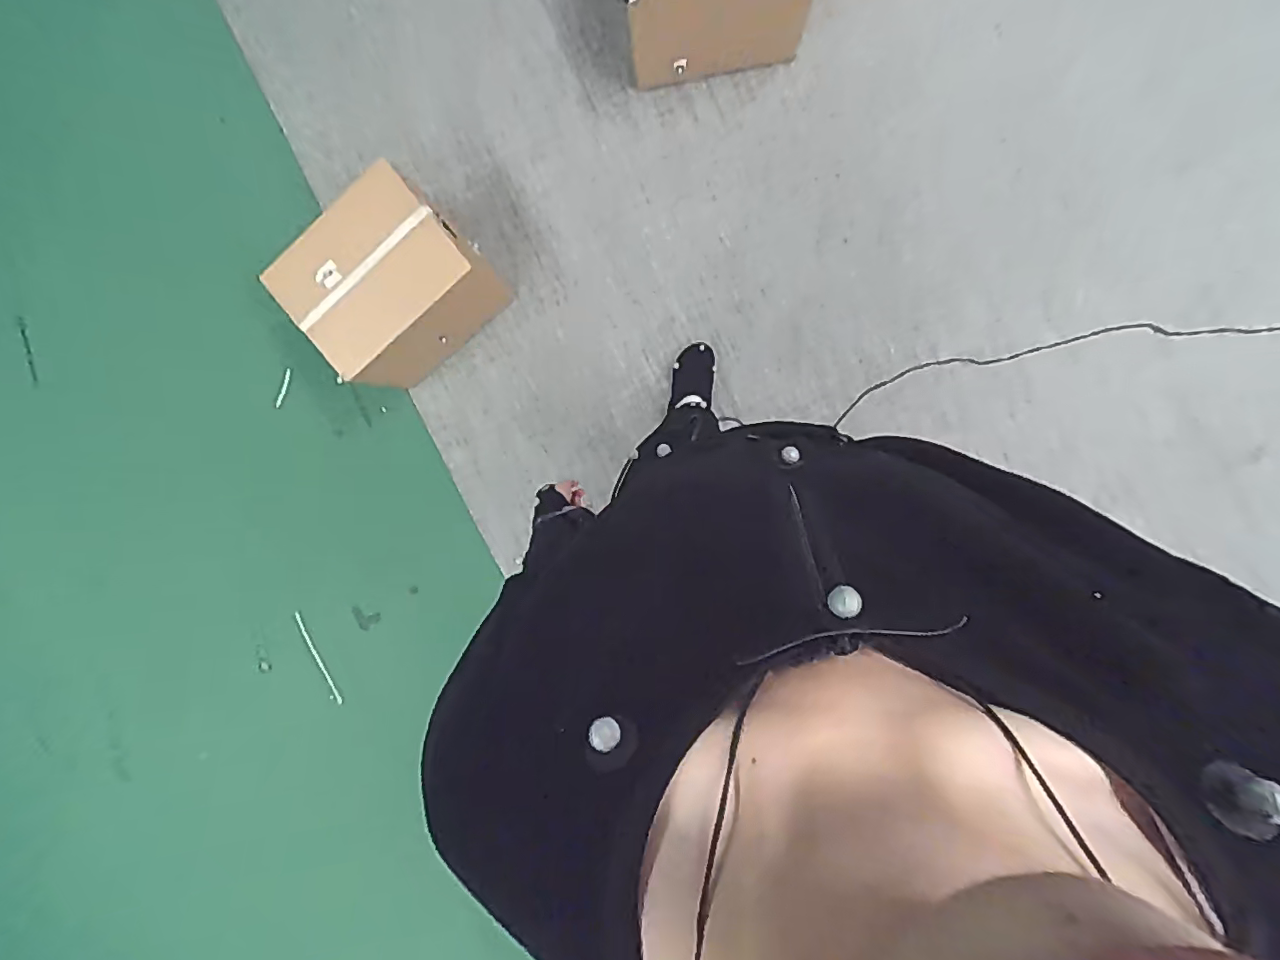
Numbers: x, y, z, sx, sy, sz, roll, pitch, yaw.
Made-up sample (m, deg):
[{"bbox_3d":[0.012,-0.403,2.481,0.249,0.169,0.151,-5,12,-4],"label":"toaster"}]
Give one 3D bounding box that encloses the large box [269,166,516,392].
[{"bbox_3d":[-0.594,-0.470,1.361,0.408,0.320,0.320,-39,91,9],"label":"large box"}]
